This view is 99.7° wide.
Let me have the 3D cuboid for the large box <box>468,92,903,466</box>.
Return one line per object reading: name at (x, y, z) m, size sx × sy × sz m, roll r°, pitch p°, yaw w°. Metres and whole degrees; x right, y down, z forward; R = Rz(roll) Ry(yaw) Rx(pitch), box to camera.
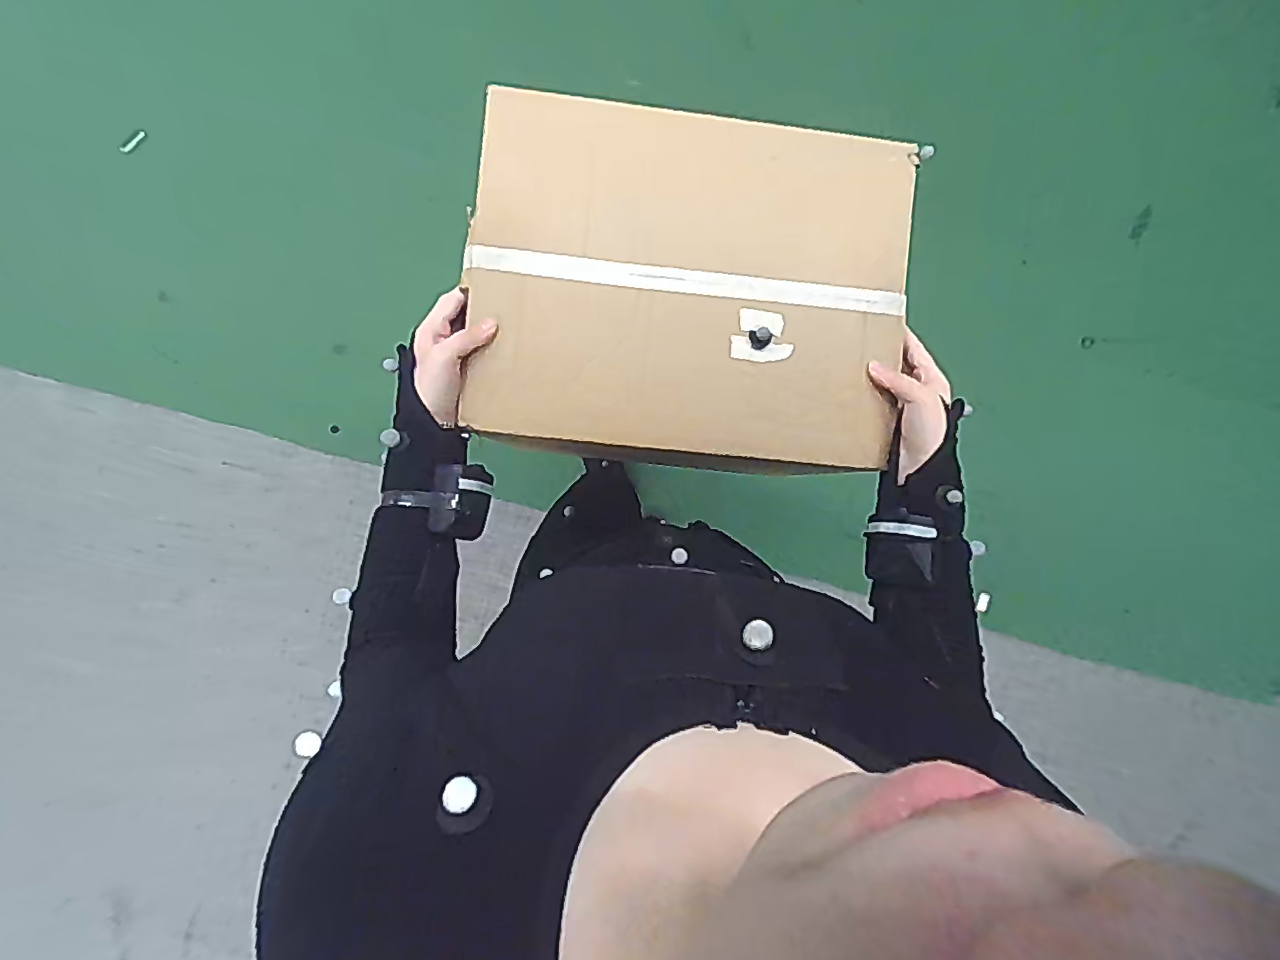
large box at (0.036, -0.189, 0.656) m, size 0.408 × 0.320 × 0.320 m, roll 5°, pitch 90°, yaw -5°
